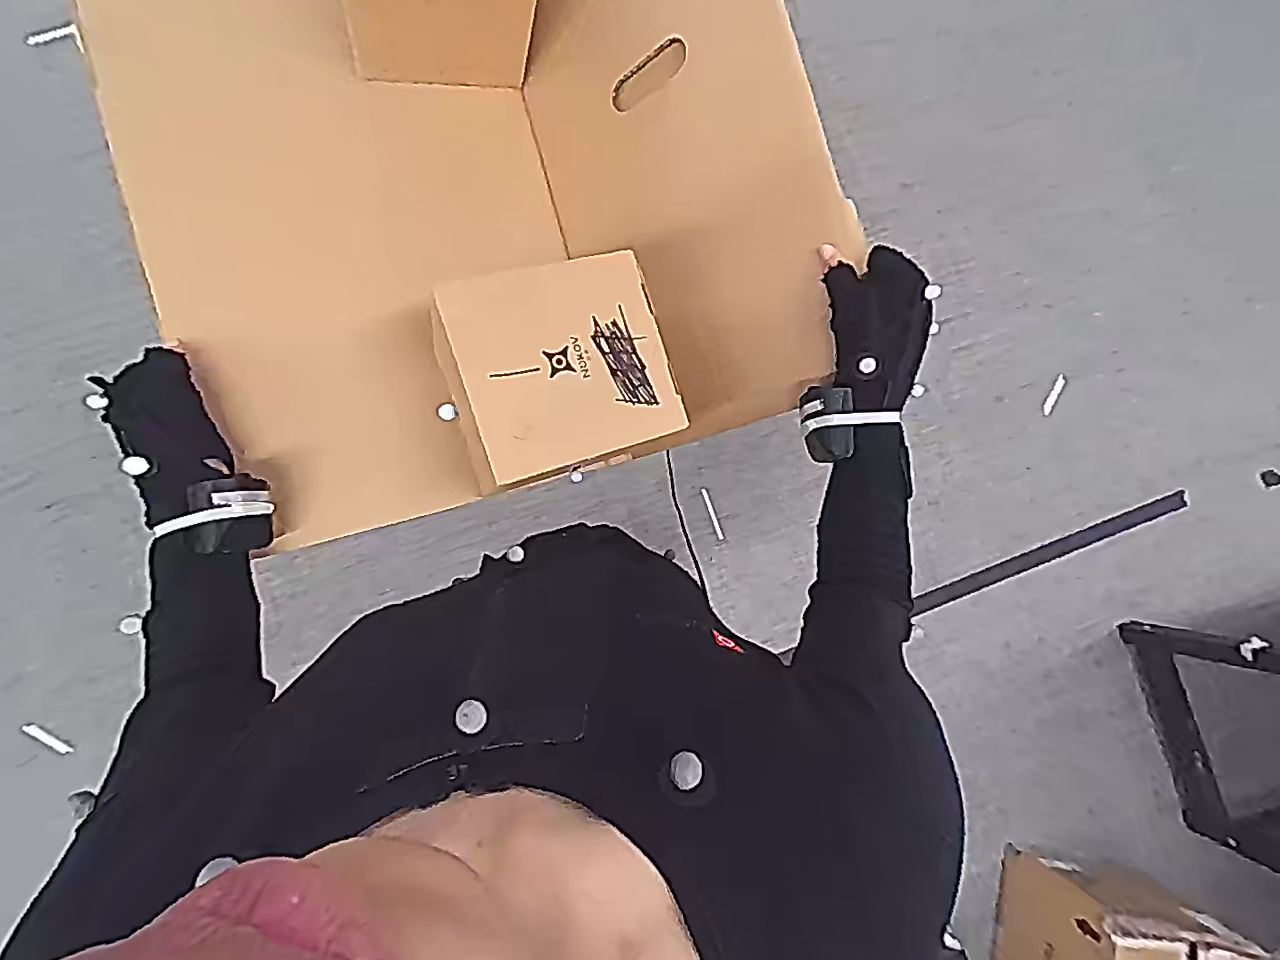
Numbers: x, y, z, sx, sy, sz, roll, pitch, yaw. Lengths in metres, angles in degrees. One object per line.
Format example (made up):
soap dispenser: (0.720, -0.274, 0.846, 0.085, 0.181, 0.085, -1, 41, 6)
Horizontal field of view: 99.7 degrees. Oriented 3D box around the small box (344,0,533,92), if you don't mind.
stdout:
small box: (-0.205, -0.520, 0.528, 0.179, 0.176, 0.168, -12, 88, -21)
